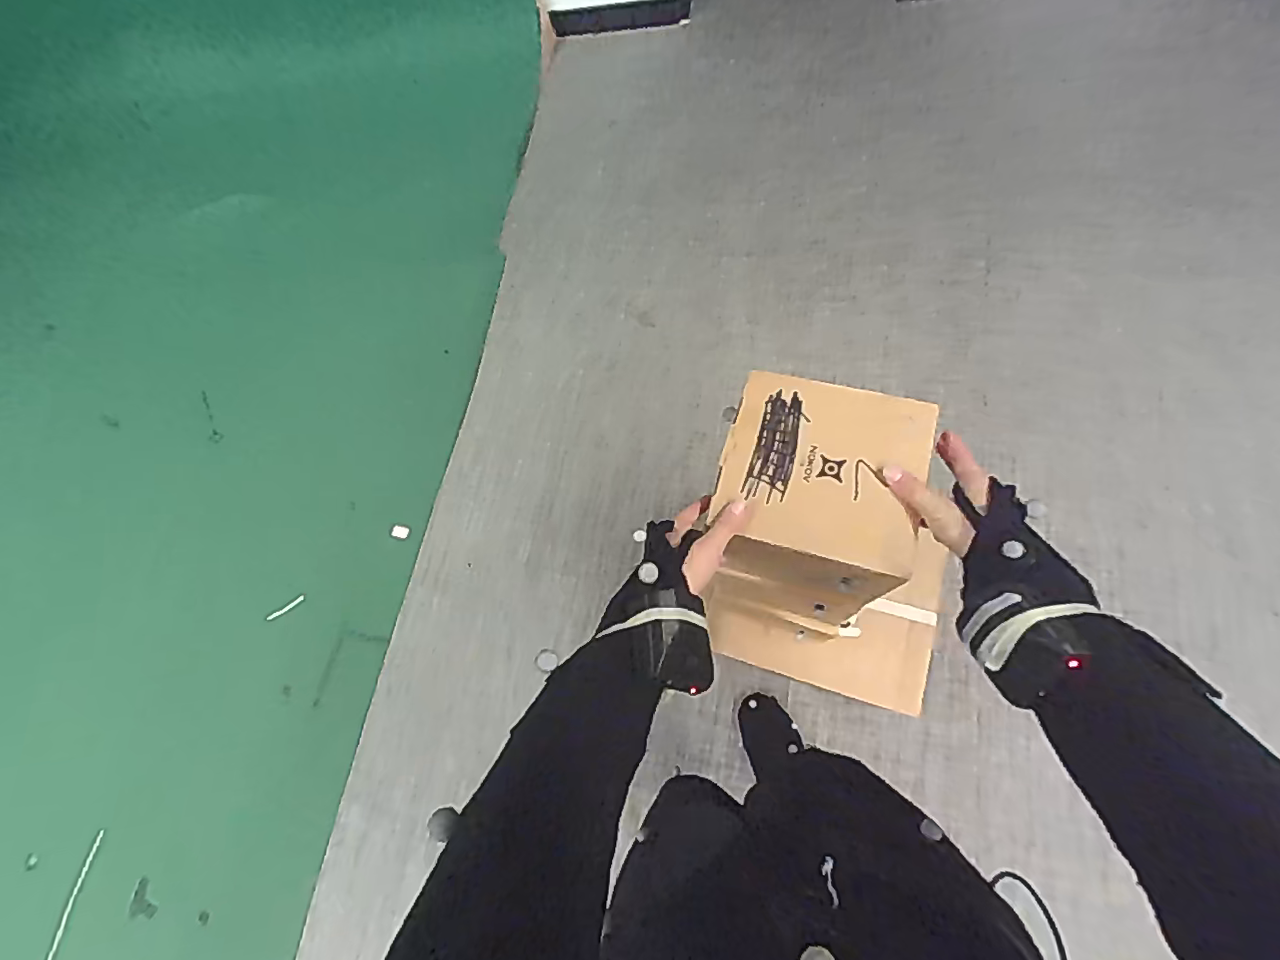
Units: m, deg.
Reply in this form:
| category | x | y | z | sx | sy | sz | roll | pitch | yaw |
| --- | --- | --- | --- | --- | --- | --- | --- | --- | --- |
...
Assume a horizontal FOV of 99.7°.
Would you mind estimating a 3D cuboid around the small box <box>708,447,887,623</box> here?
| category | x | y | z | sx | sy | sz | roll | pitch | yaw |
| --- | --- | --- | --- | --- | --- | --- | --- | --- | --- |
| small box | 0.197 | 0.079 | 0.705 | 0.179 | 0.176 | 0.168 | 14 | 73 | 15 |

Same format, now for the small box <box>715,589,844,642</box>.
| category | x | y | z | sx | sy | sz | roll | pitch | yaw |
| --- | --- | --- | --- | --- | --- | --- | --- | --- | --- |
| small box | 0.229 | 0.148 | 0.848 | 0.179 | 0.176 | 0.168 | 14 | 73 | 17 |

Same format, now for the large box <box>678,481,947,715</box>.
| category | x | y | z | sx | sy | sz | roll | pitch | yaw |
| --- | --- | --- | --- | --- | --- | --- | --- | --- | --- |
| large box | 0.316 | 0.229 | 1.062 | 0.408 | 0.320 | 0.320 | 14 | 76 | 15 |
